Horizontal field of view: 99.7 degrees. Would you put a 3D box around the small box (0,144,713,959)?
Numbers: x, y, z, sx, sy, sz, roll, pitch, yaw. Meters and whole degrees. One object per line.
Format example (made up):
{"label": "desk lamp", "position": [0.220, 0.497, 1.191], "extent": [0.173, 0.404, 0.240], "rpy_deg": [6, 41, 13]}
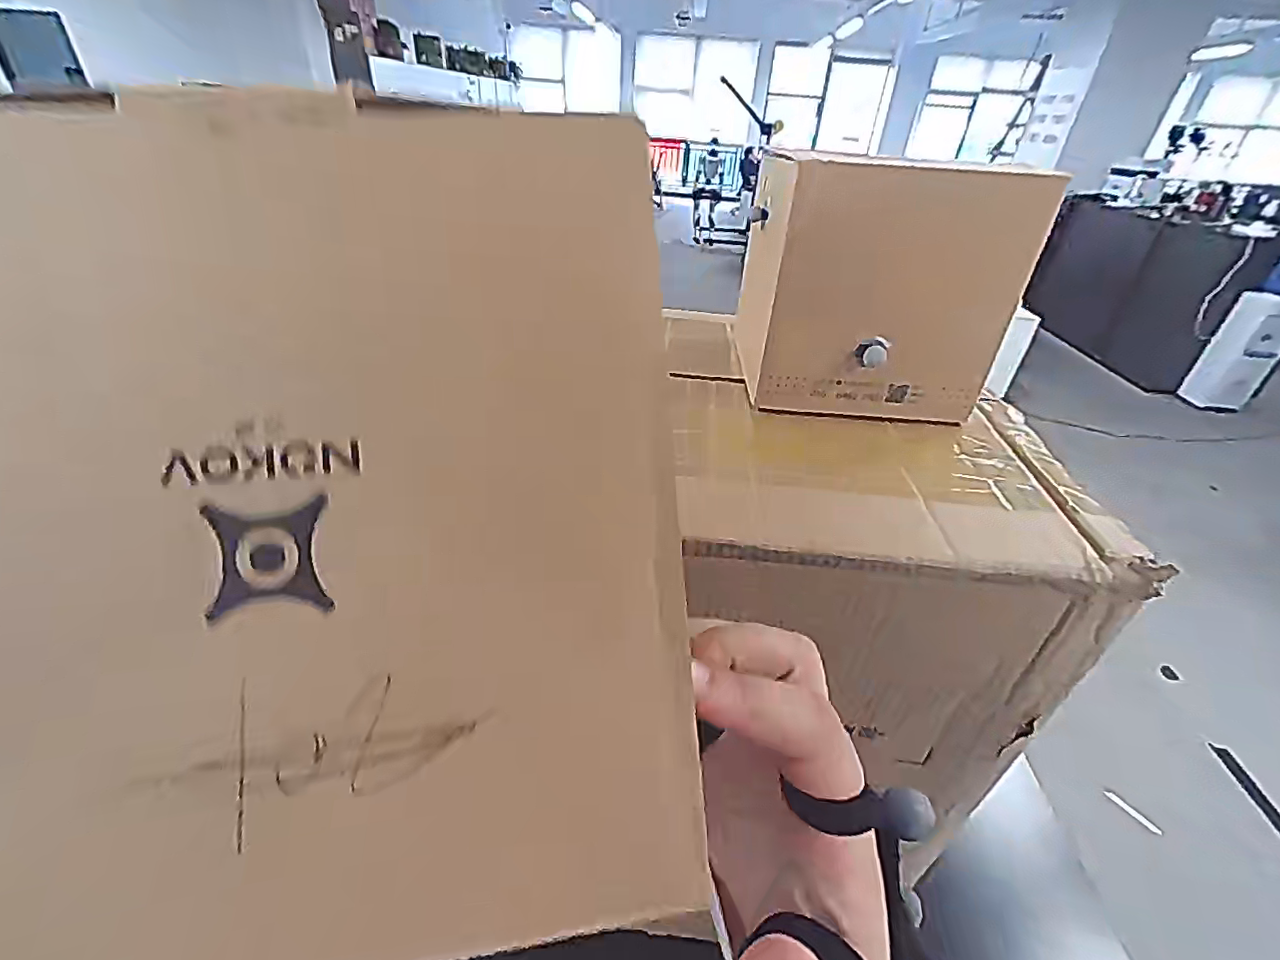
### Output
{"label": "small box", "position": [-0.082, 0.017, 0.194], "extent": [0.168, 0.179, 0.176], "rpy_deg": [-6, 0, -7]}

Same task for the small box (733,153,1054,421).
{"label": "small box", "position": [0.174, -0.164, 0.444], "extent": [0.168, 0.176, 0.179], "rpy_deg": [3, 33, 2]}
